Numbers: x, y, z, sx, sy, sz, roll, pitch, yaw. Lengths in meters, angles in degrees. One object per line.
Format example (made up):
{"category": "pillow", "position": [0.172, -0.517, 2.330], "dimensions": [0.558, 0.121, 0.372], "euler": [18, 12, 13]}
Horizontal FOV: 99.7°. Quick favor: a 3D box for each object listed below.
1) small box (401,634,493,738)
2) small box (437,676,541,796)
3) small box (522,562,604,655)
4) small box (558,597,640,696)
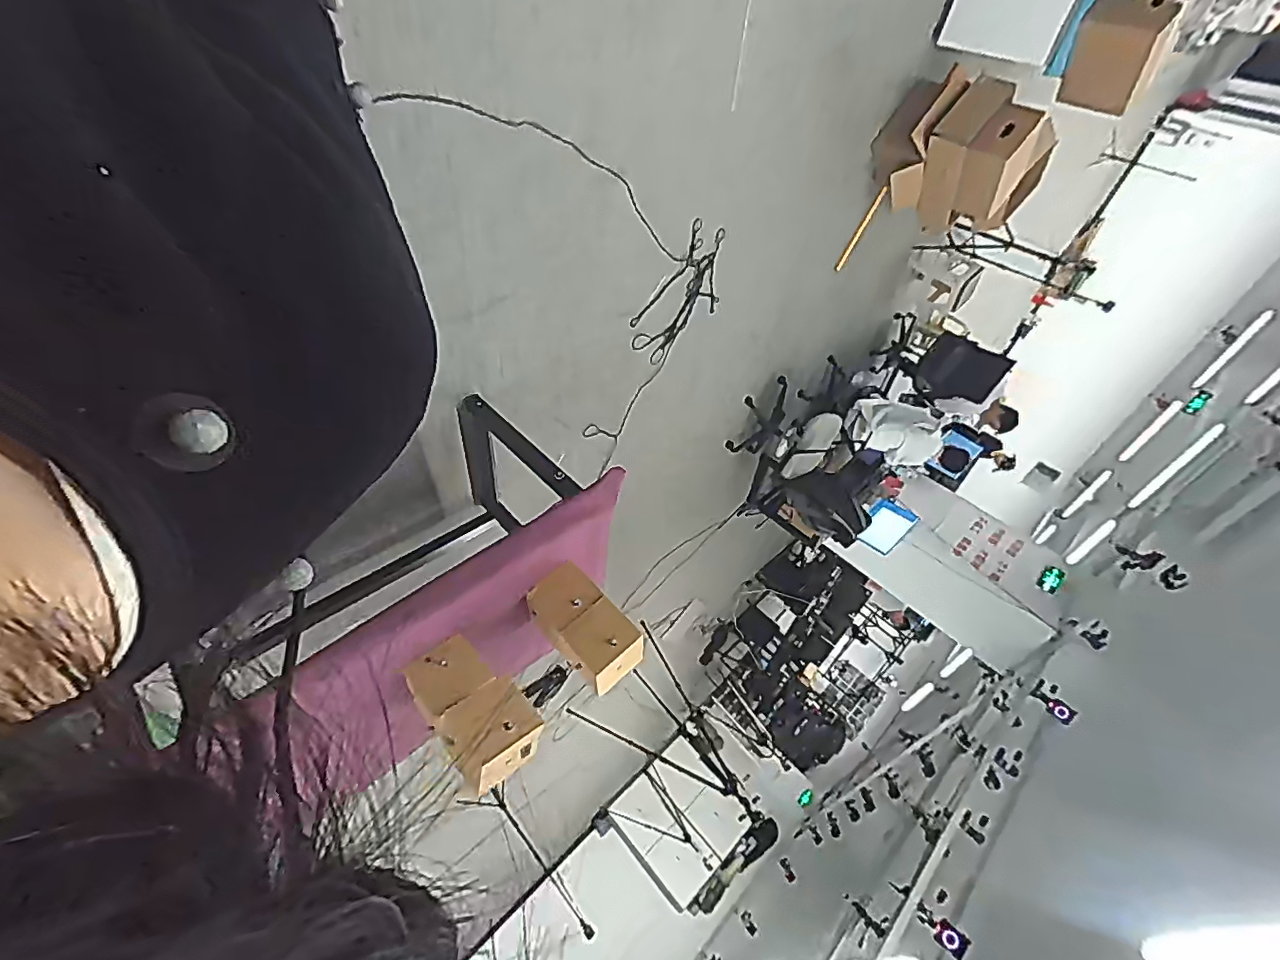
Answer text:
{"category": "small box", "position": [-0.497, 0.538, 1.408], "dimensions": [0.168, 0.176, 0.179], "euler": [-31, 147, -34]}
{"category": "small box", "position": [-0.376, 0.624, 1.337], "dimensions": [0.179, 0.176, 0.168], "euler": [-22, 142, -42]}
{"category": "small box", "position": [-0.227, 0.380, 1.621], "dimensions": [0.179, 0.176, 0.168], "euler": [-34, 148, -28]}
{"category": "small box", "position": [-0.120, 0.471, 1.541], "dimensions": [0.179, 0.176, 0.168], "euler": [-36, 148, -27]}
